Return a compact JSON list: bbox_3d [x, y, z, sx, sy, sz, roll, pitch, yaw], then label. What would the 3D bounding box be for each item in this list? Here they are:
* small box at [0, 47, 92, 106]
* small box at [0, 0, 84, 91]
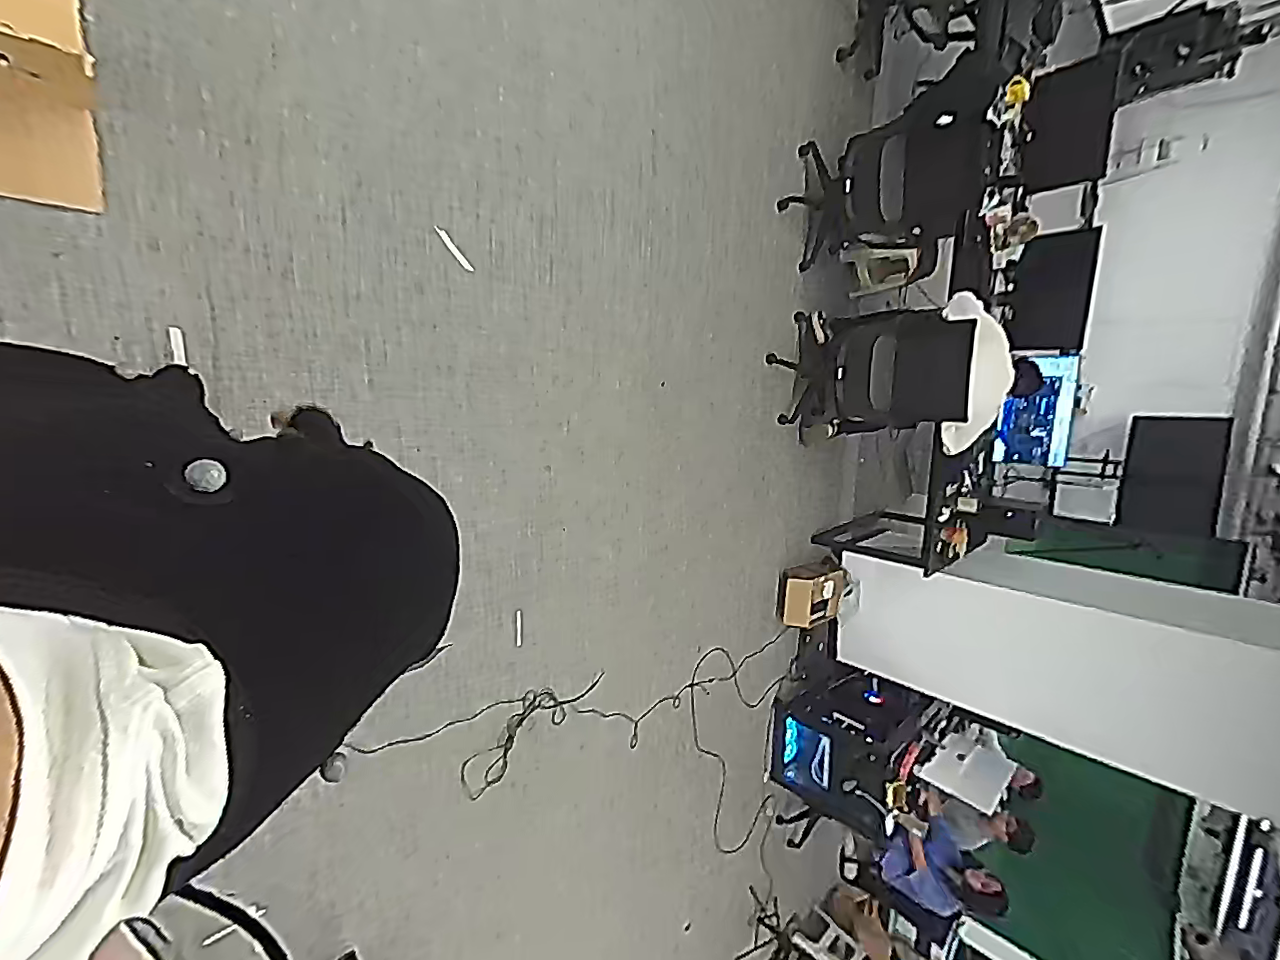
[{"bbox_3d":[-1.127,-0.802,0.967,0.179,0.176,0.168,-19,111,-42],"label":"small box"},{"bbox_3d":[-1.010,-0.770,0.857,0.168,0.176,0.179,-7,103,-44],"label":"small box"}]
